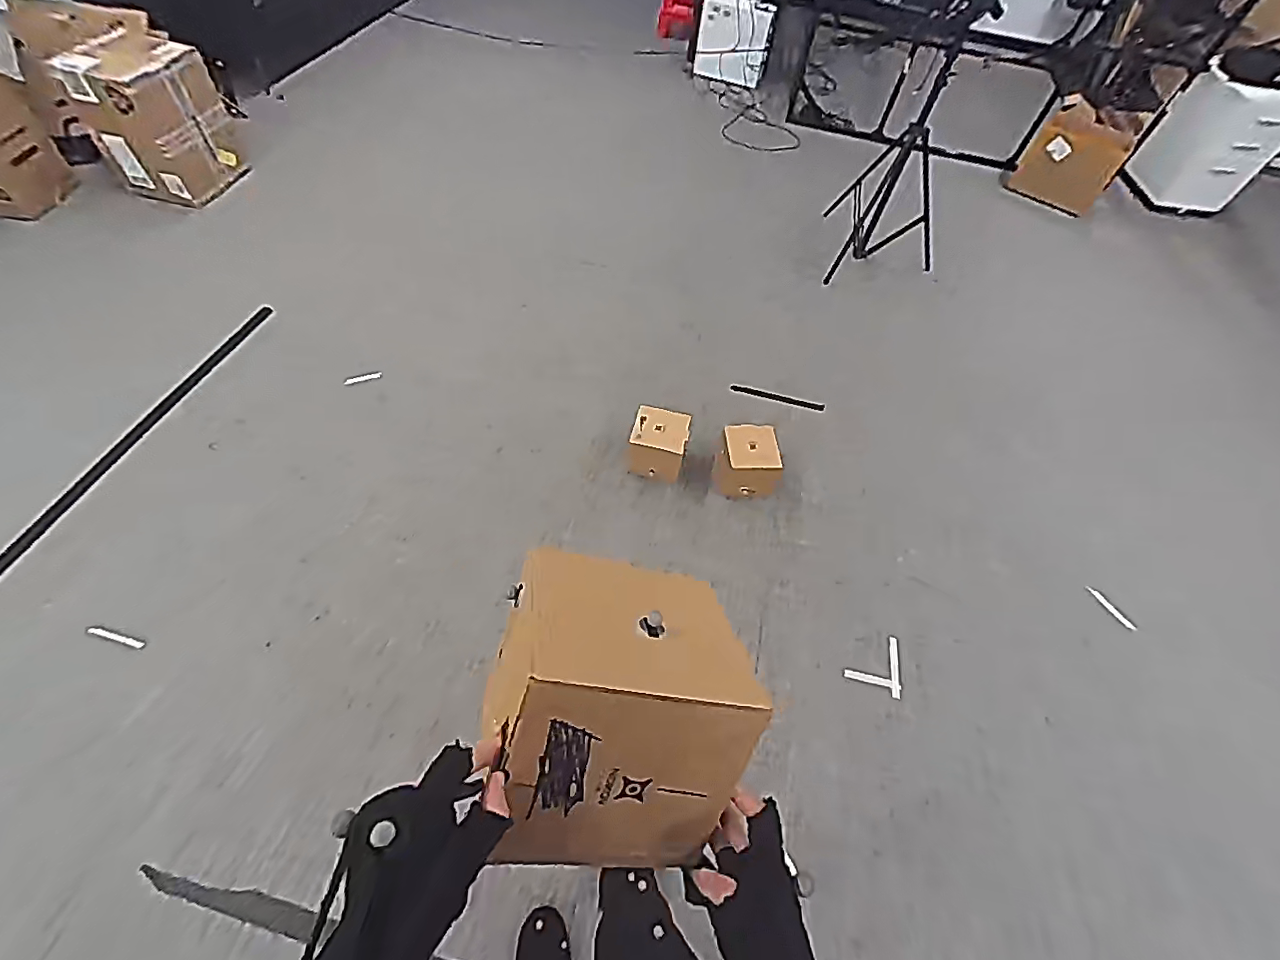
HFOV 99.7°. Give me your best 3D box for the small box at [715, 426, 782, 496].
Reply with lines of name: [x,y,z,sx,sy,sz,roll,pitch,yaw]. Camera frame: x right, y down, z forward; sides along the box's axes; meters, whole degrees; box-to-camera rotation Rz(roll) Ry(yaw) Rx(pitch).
small box: [0.353,-0.063,1.796,0.168,0.176,0.179,-1,56,-5]

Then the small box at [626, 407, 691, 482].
small box: [0.060,-0.112,1.801,0.179,0.176,0.168,14,55,4]

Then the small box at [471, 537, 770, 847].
small box: [-0.028,0.165,0.452,0.179,0.168,0.176,14,19,-16]
